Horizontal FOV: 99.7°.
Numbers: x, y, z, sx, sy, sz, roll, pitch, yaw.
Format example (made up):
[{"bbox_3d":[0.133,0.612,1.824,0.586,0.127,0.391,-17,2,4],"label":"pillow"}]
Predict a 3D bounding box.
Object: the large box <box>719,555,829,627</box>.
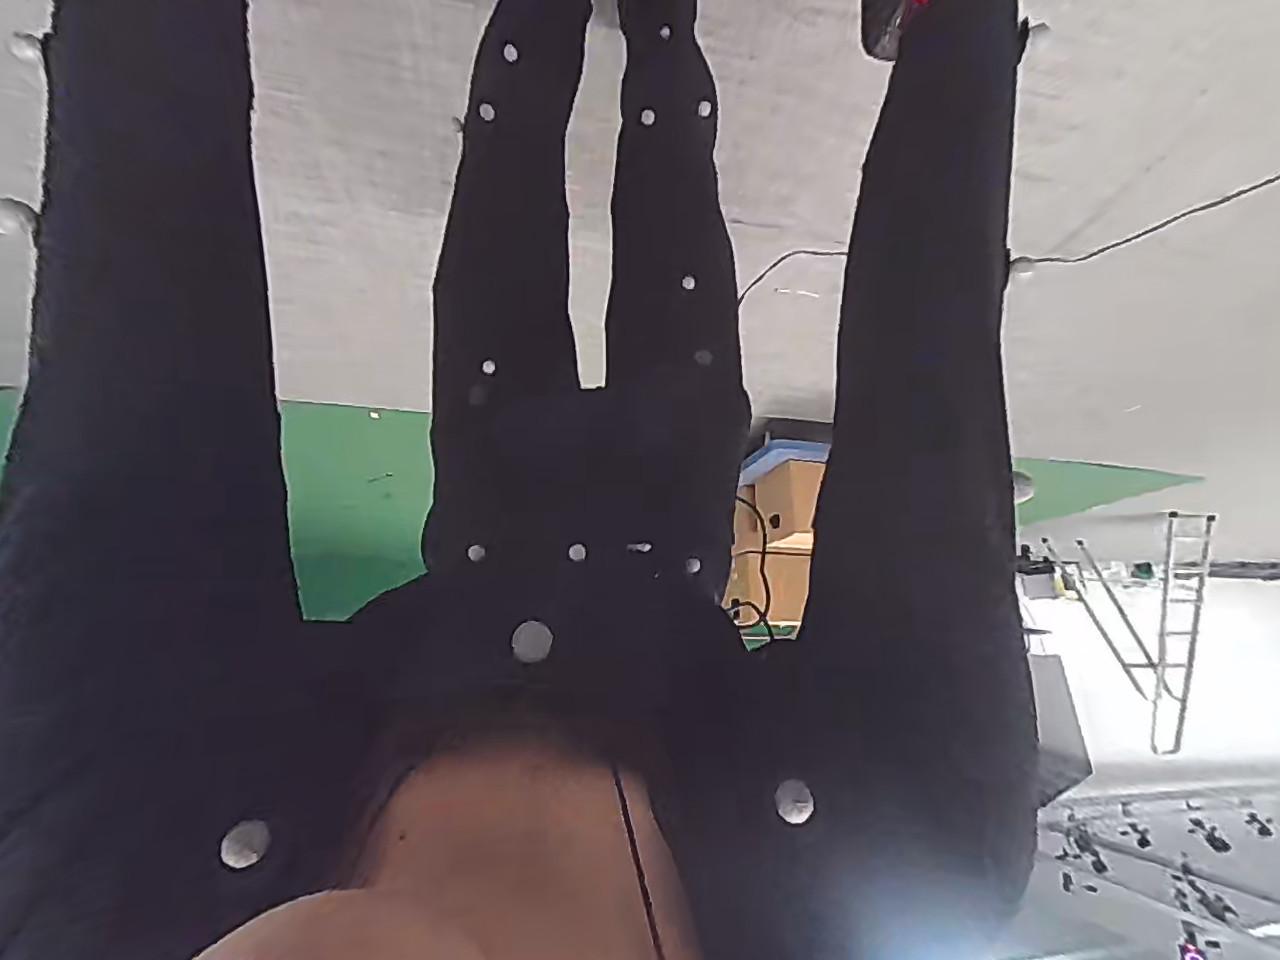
[{"bbox_3d":[0.628,0.539,2.592,0.408,0.320,0.320,4,164,-17],"label":"large box"}]
